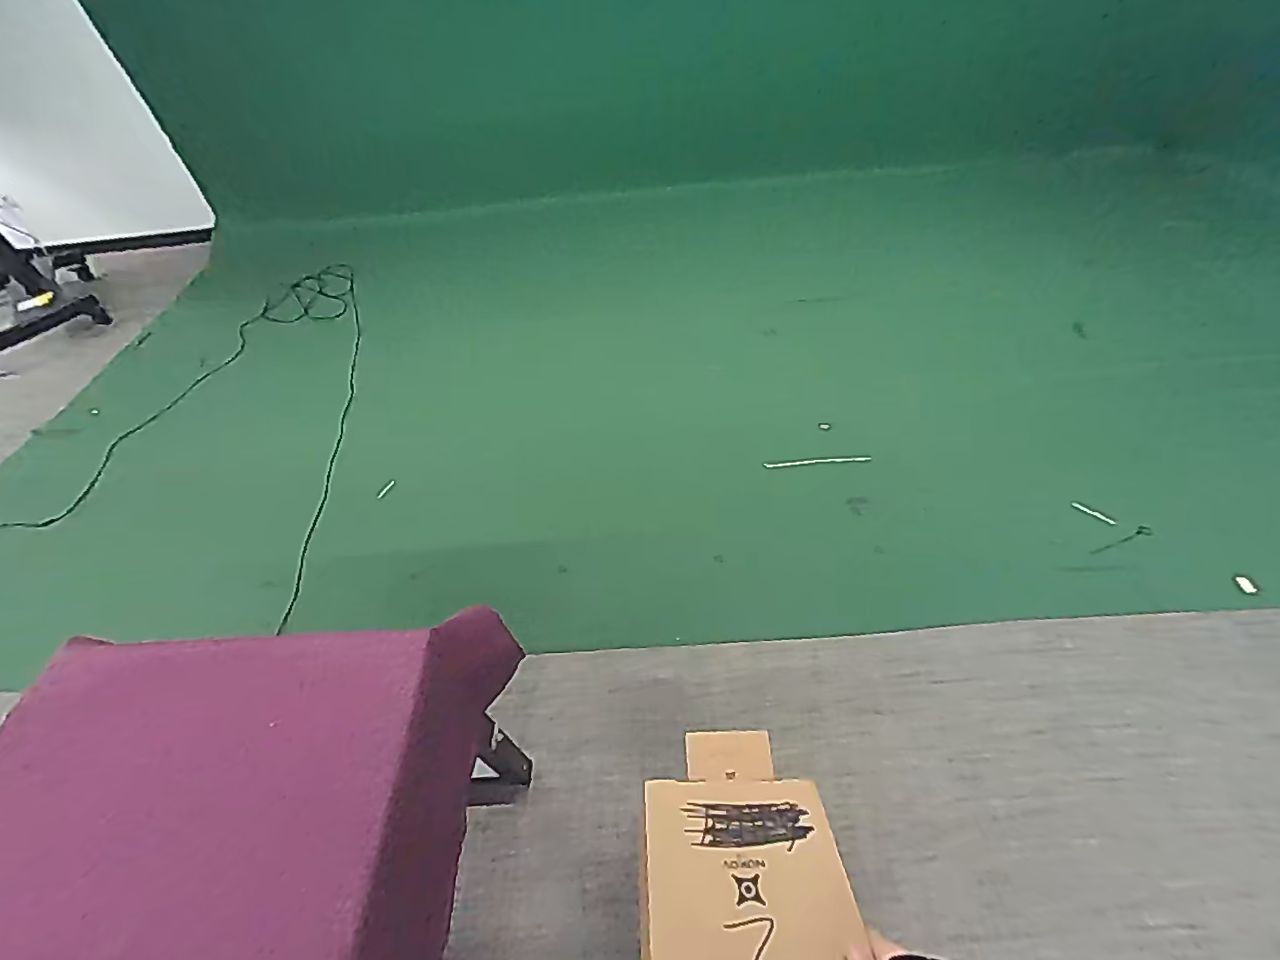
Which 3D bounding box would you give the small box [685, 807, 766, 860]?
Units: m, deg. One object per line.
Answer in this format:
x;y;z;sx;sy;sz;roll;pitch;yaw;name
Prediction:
0.185;0.728;1.200;0.168;0.176;0.179;-1;49;5;small box

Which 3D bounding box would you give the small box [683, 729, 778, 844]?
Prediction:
0.174;0.616;1.082;0.168;0.176;0.179;-2;48;3;small box
